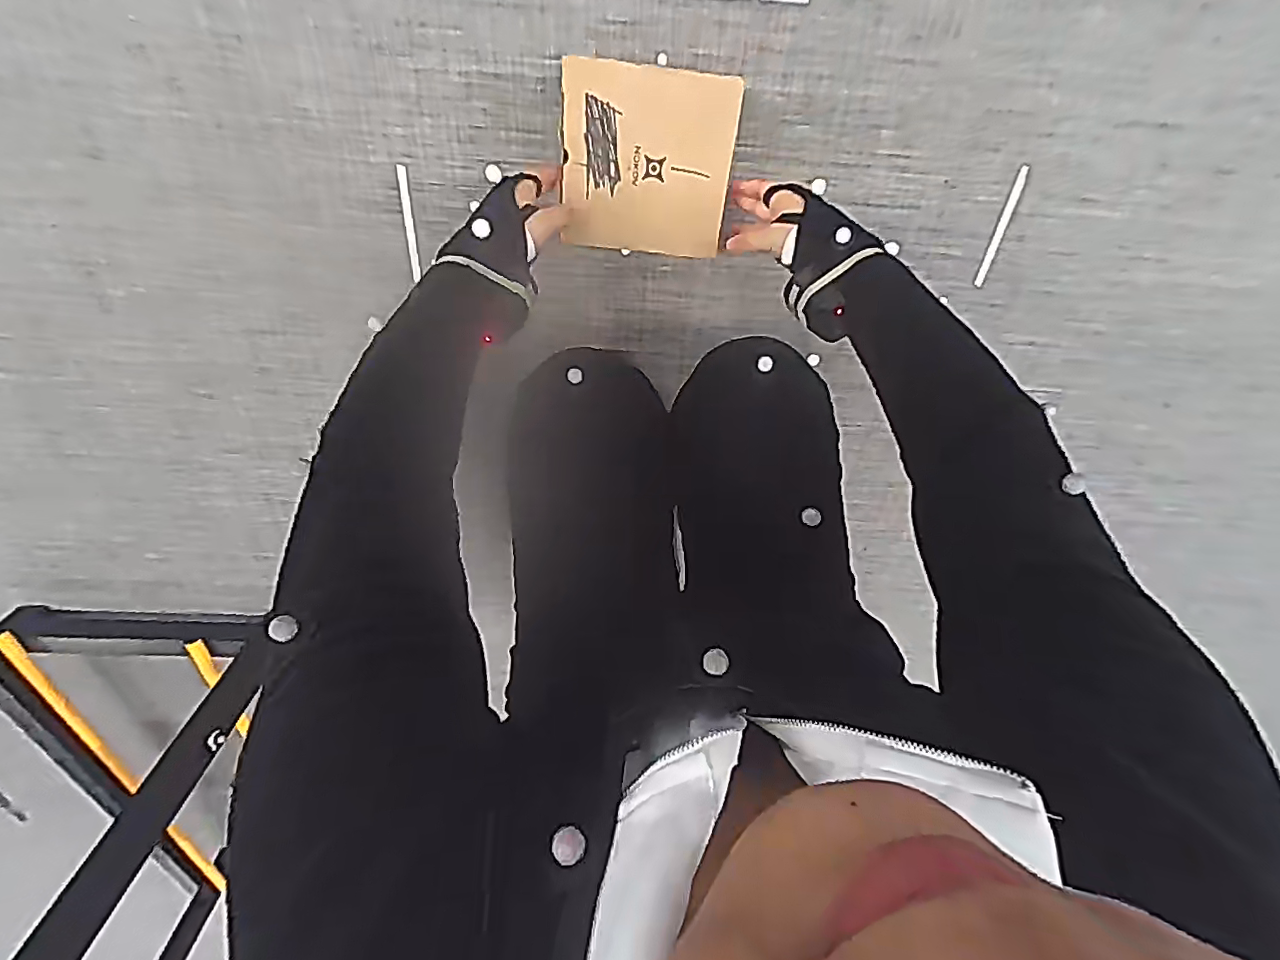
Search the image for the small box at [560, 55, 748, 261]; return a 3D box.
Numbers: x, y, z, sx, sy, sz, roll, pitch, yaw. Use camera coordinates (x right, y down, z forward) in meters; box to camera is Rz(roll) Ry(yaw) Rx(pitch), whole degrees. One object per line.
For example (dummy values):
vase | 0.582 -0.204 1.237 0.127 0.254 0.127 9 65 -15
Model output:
small box | 0.008 -0.363 0.617 0.179 0.176 0.168 5 125 -4
